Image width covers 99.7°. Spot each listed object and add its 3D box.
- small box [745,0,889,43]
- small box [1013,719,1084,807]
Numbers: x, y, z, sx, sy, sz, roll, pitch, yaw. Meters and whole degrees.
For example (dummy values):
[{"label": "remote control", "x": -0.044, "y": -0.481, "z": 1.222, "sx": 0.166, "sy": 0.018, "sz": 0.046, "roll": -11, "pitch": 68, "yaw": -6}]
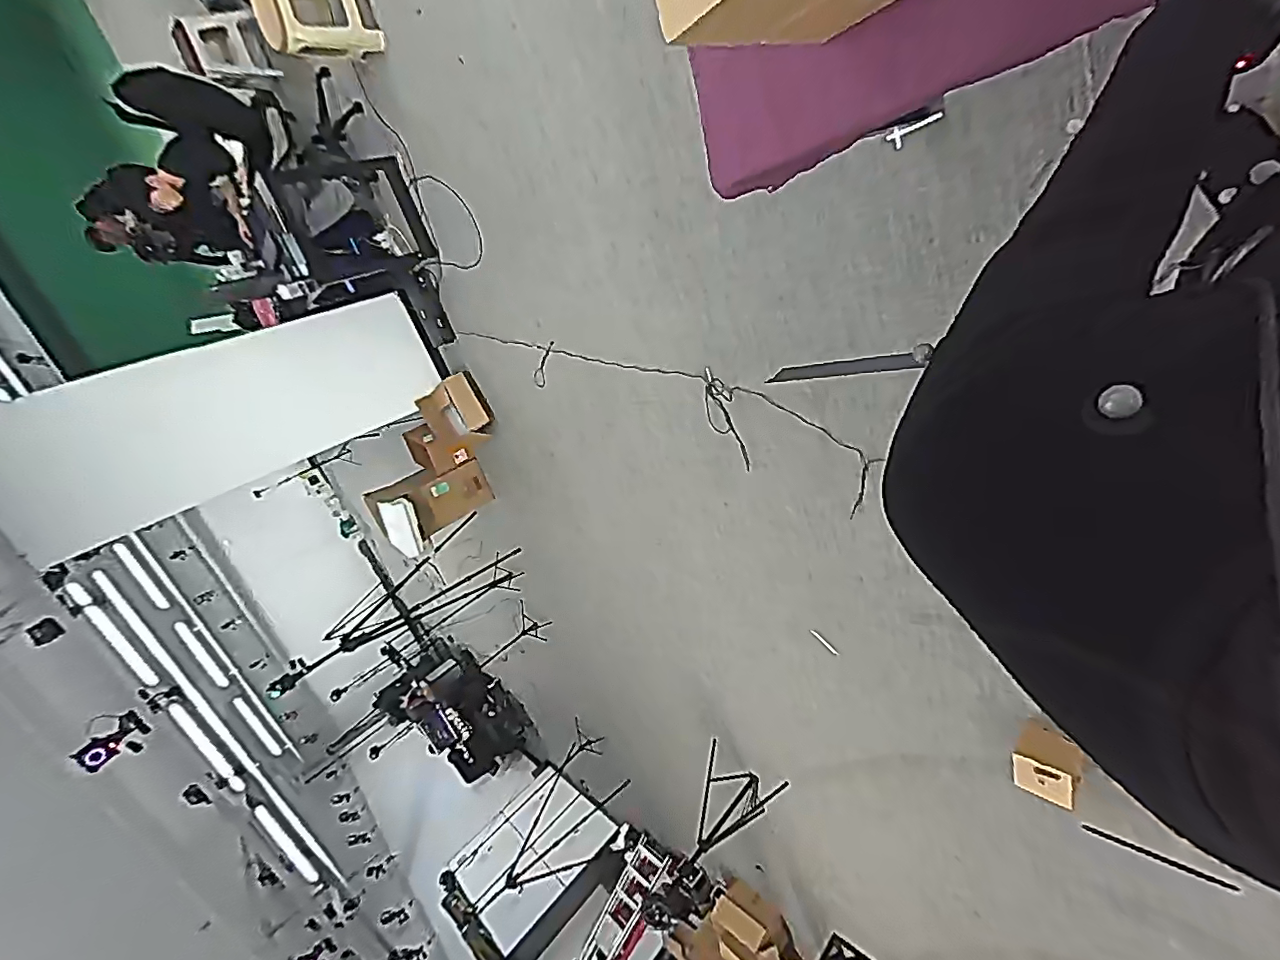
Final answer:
[{"label": "small box", "x": 0.229, "y": -0.650, "z": 0.628, "sx": 0.179, "sy": 0.176, "sz": 0.168, "roll": 7, "pitch": 123, "yaw": 49}, {"label": "small box", "x": 1.411, "y": 0.968, "z": 1.870, "sx": 0.168, "sy": 0.176, "sz": 0.179, "roll": 9, "pitch": 126, "yaw": 49}]
